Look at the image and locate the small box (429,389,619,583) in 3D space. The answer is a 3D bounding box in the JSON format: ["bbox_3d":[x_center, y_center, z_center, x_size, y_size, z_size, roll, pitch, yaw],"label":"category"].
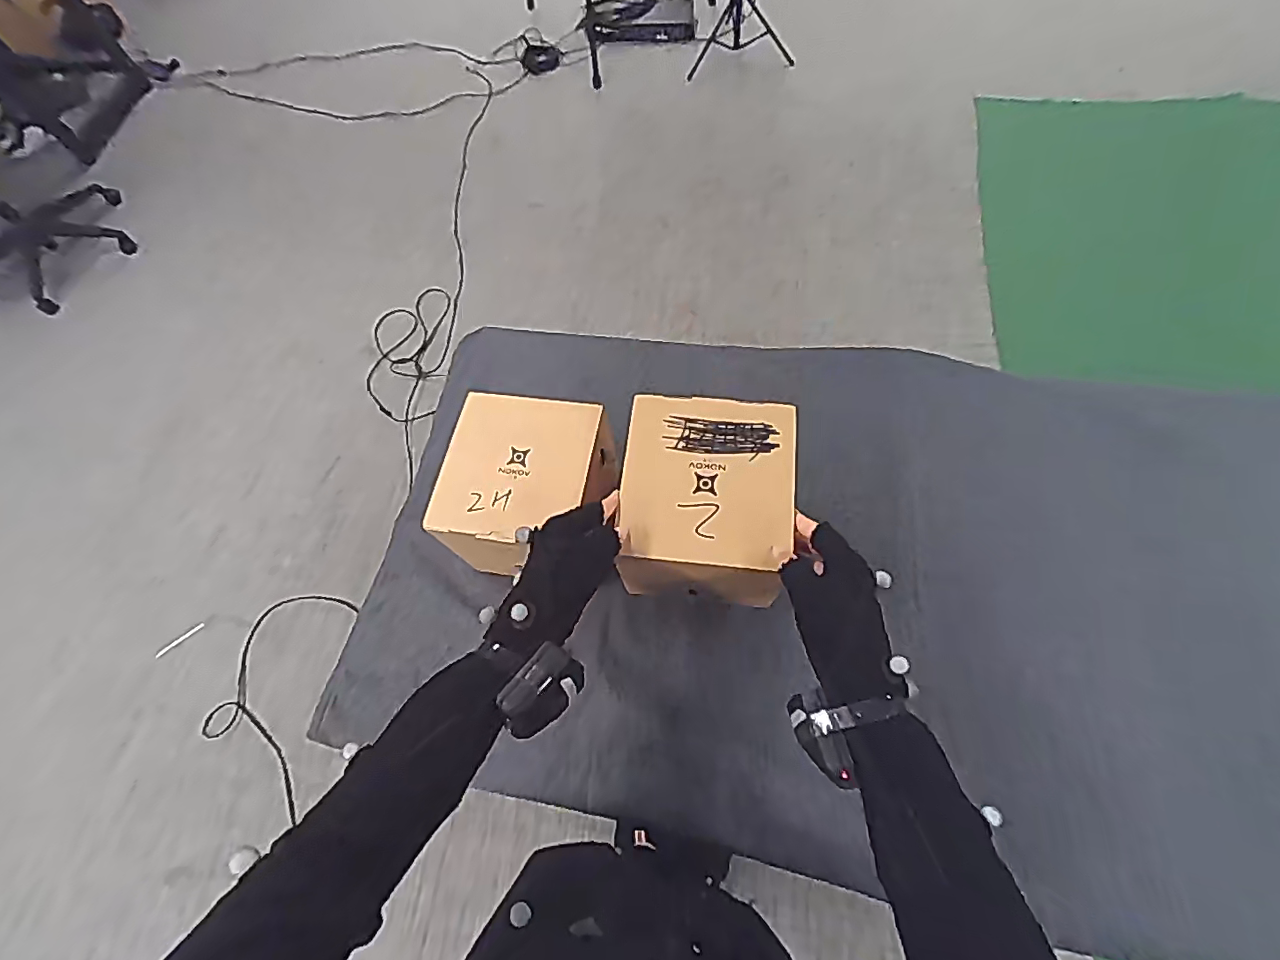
[{"bbox_3d":[-0.125,0.013,0.668,0.168,0.176,0.179,7,66,9],"label":"small box"}]
